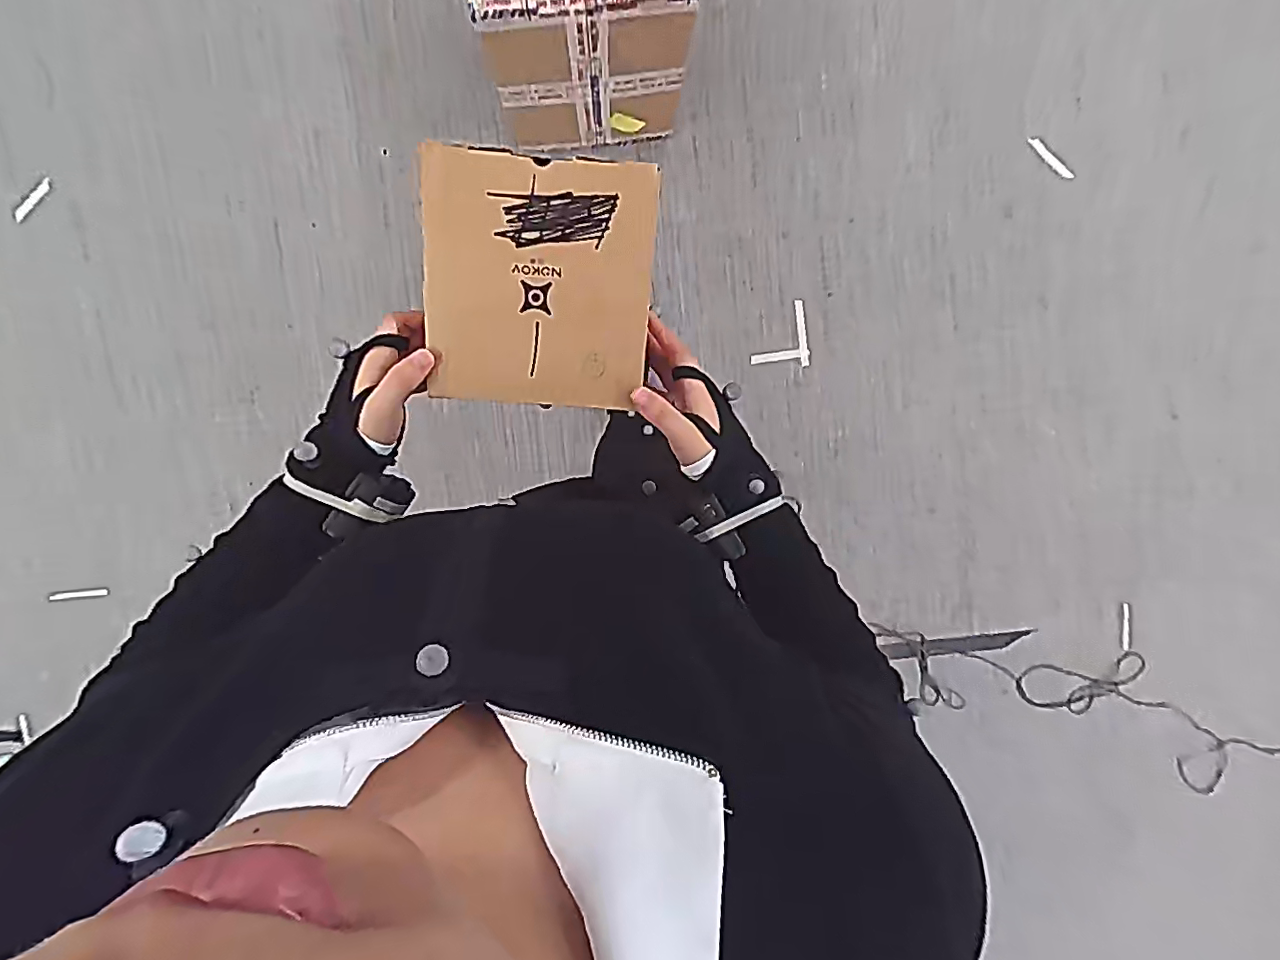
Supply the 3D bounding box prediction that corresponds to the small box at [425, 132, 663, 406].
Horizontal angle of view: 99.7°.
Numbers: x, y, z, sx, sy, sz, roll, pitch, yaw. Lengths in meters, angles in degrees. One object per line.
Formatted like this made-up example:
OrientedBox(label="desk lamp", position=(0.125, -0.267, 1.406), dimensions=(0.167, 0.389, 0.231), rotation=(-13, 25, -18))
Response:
OrientedBox(label="small box", position=(-0.077, -0.167, 0.470), dimensions=(0.168, 0.176, 0.179), rotation=(4, 105, -3))
